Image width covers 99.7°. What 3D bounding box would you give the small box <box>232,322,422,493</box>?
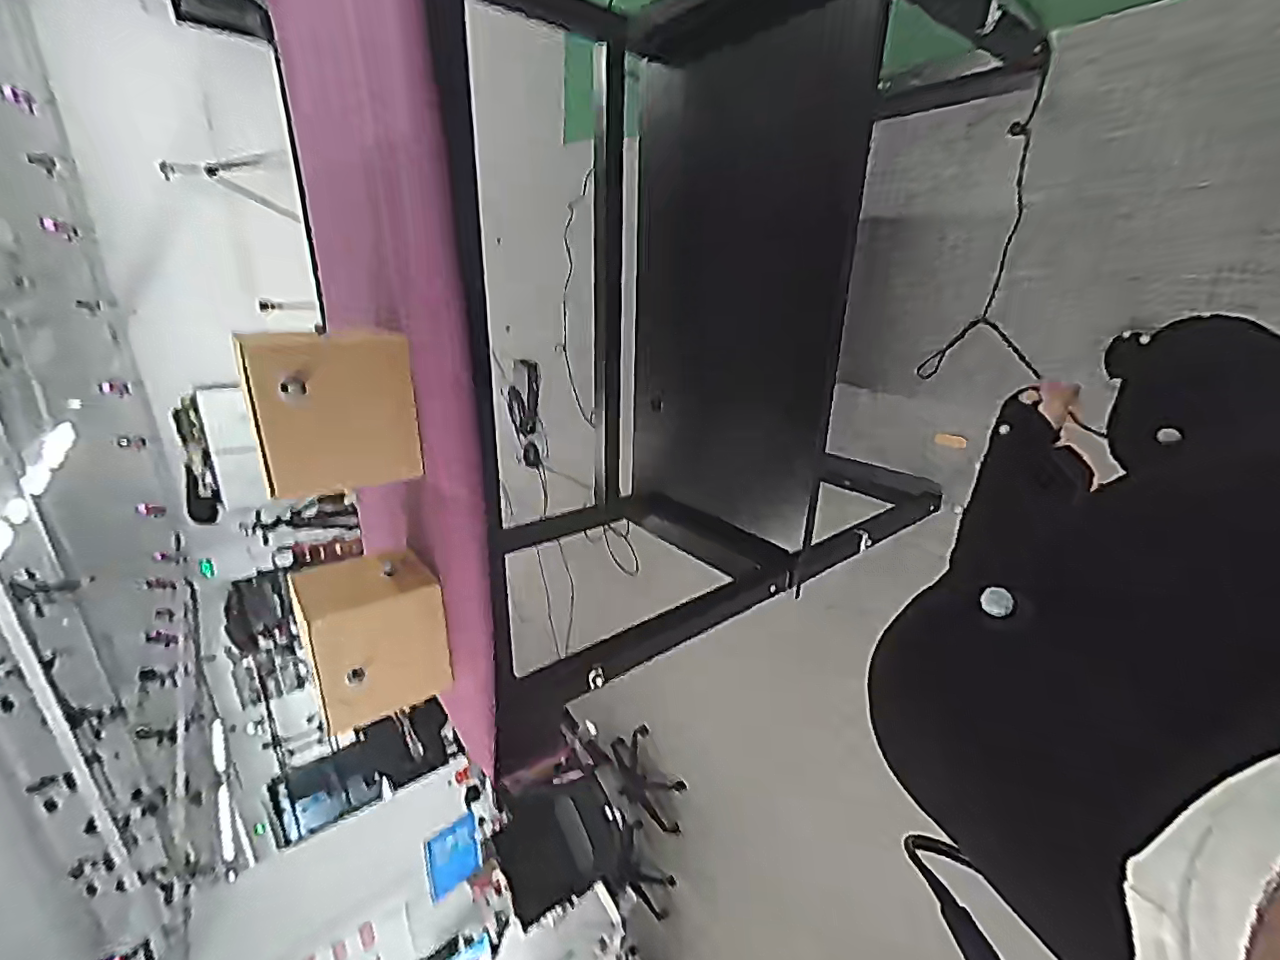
[{"bbox_3d":[-0.392,-0.105,0.686,0.168,0.176,0.179,26,121,48],"label":"small box"}]

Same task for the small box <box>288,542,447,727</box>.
[{"bbox_3d":[-0.393,0.211,0.790,0.168,0.176,0.179,20,116,49],"label":"small box"}]
